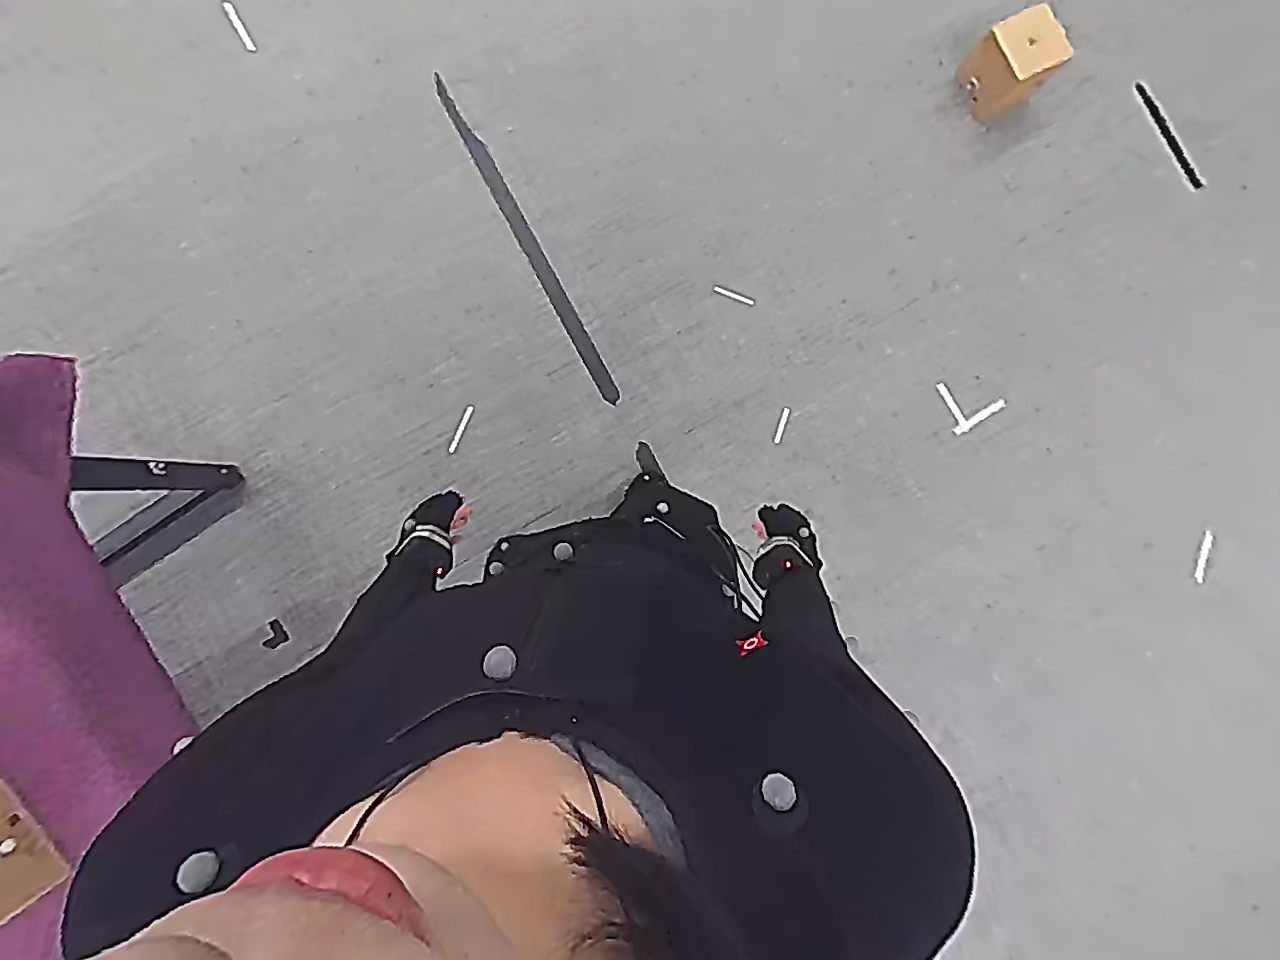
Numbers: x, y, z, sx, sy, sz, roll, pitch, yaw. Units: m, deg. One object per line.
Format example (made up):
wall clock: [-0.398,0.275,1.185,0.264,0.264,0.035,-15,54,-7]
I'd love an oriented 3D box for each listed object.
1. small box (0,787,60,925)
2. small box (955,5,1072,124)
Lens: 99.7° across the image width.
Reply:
small box: [-0.899,0.525,0.657,0.179,0.176,0.168,-36,91,-3]
small box: [1.036,-1.155,1.515,0.179,0.176,0.168,-27,89,-2]
